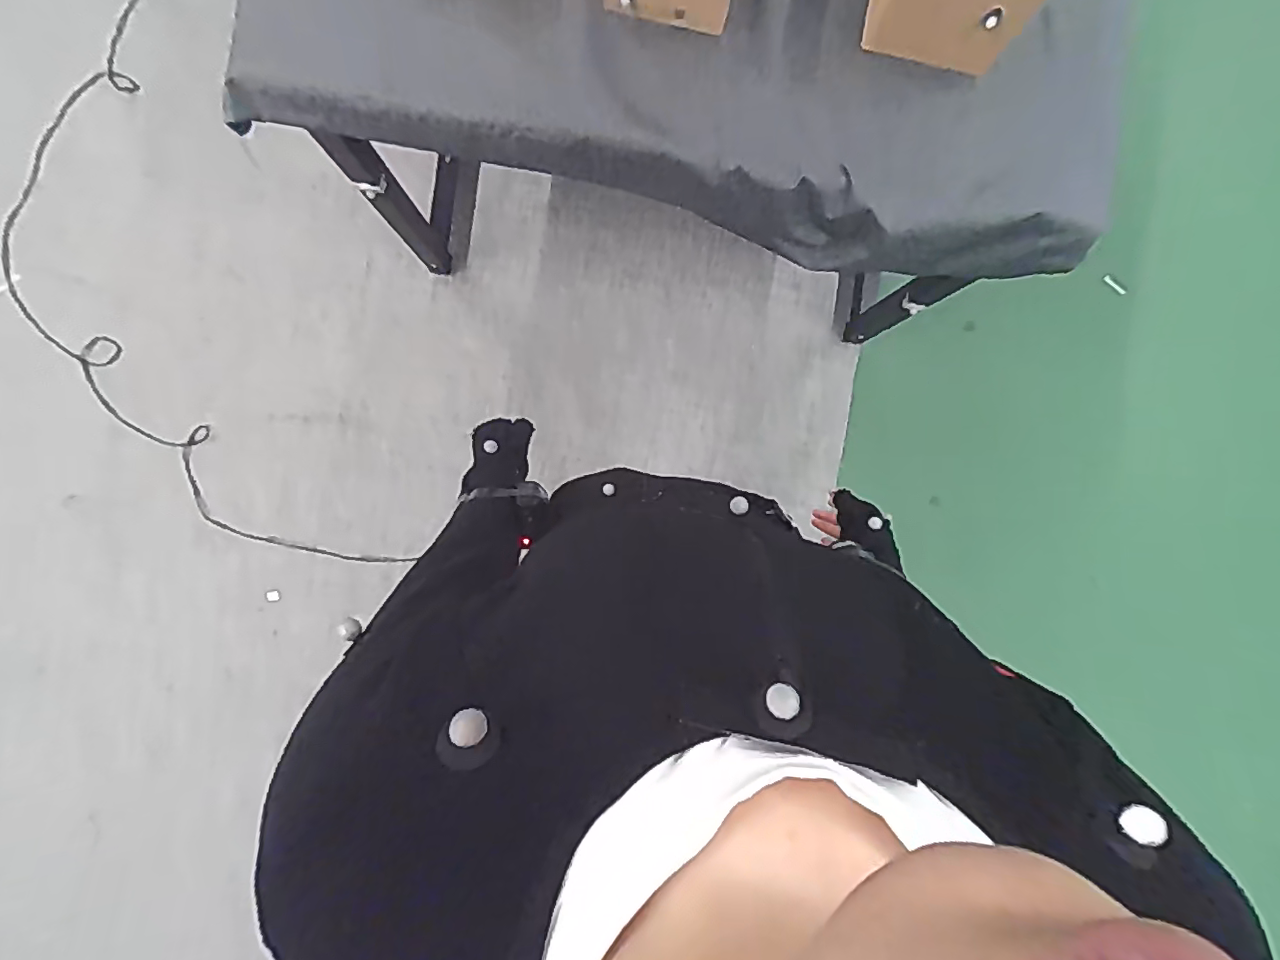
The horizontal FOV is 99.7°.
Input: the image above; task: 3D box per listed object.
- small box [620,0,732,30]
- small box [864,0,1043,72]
[{"bbox_3d":[0.054,-0.709,0.659,0.168,0.176,0.179,11,89,-3],"label":"small box"},{"bbox_3d":[0.412,-0.661,0.678,0.179,0.176,0.168,11,88,-1],"label":"small box"}]
